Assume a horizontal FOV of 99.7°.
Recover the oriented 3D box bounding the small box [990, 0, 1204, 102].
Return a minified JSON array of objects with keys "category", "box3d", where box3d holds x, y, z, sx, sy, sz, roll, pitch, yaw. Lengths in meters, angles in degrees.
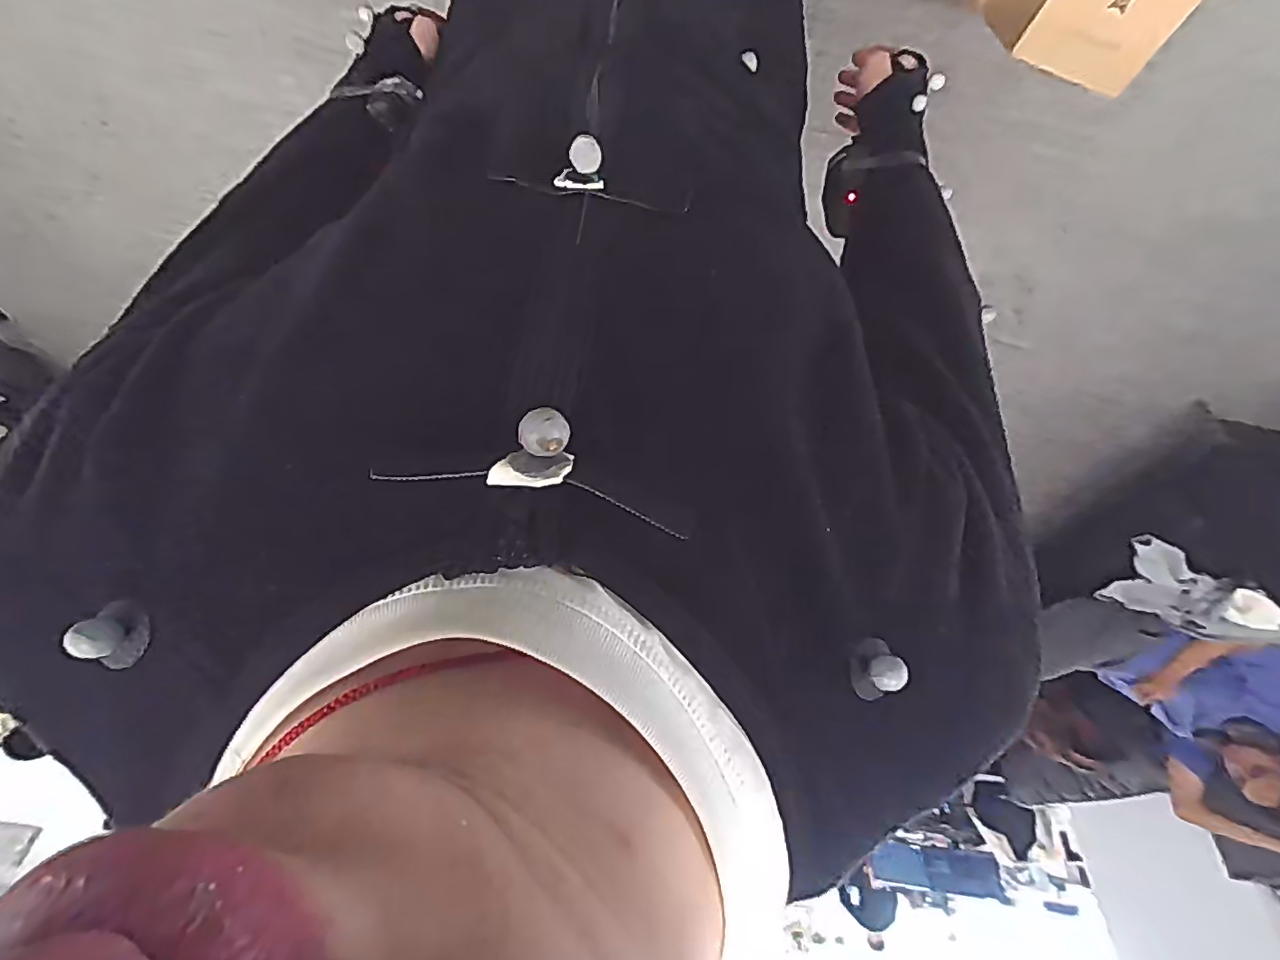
[{"category":"small box","box3d":[0.593,-0.640,0.694,0.168,0.176,0.179,15,144,-7]}]
